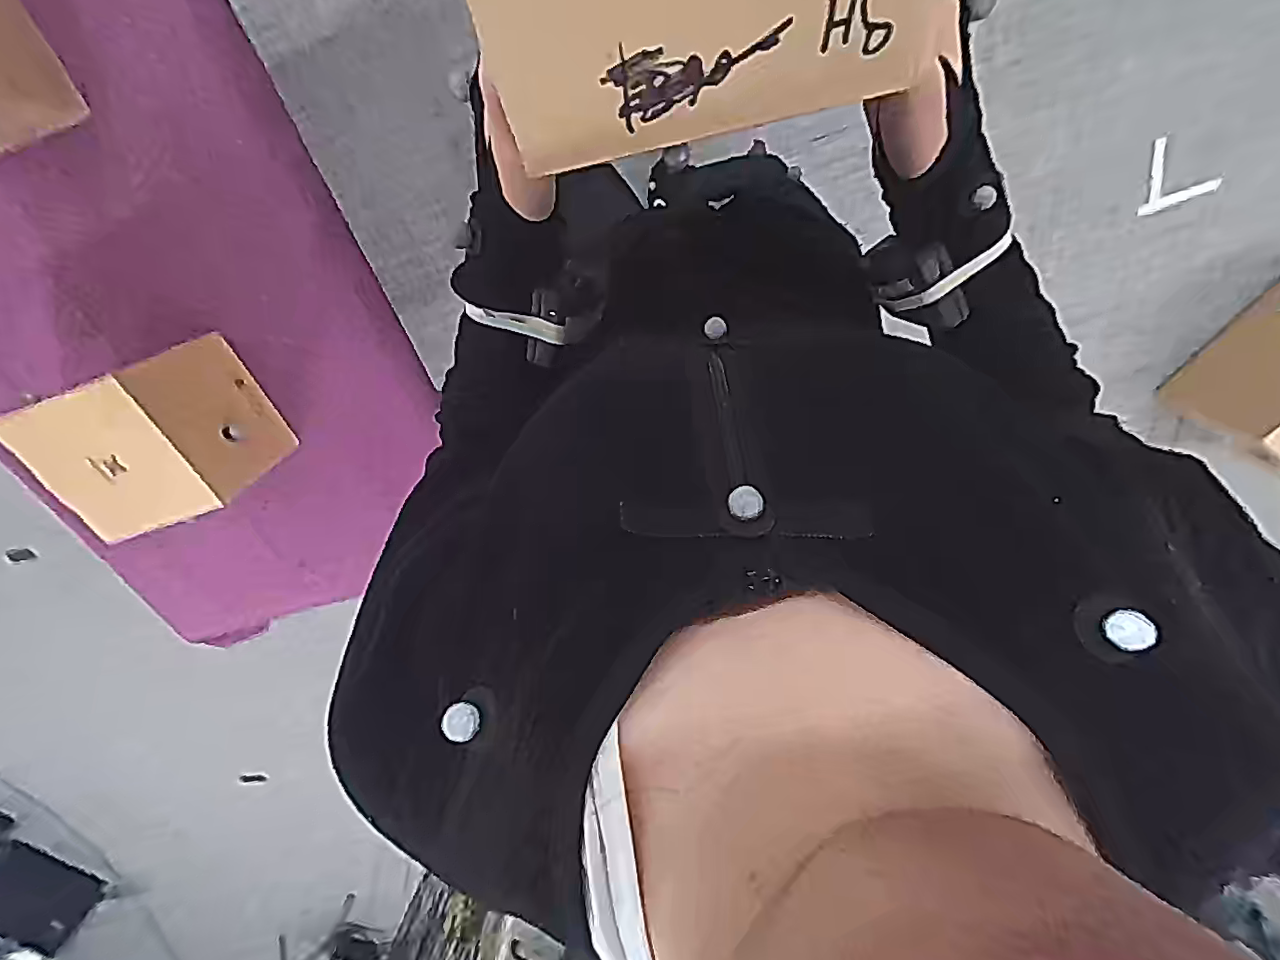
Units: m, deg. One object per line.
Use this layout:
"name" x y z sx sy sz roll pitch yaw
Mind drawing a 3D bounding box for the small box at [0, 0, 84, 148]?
"small box" -0.673 -0.396 0.470 0.168 0.176 0.179 -15 118 8

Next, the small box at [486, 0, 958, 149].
"small box" 0.023 -0.263 0.214 0.168 0.176 0.179 -5 134 12

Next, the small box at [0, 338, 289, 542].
"small box" -0.578 -0.056 0.666 0.179 0.176 0.168 -17 119 11
